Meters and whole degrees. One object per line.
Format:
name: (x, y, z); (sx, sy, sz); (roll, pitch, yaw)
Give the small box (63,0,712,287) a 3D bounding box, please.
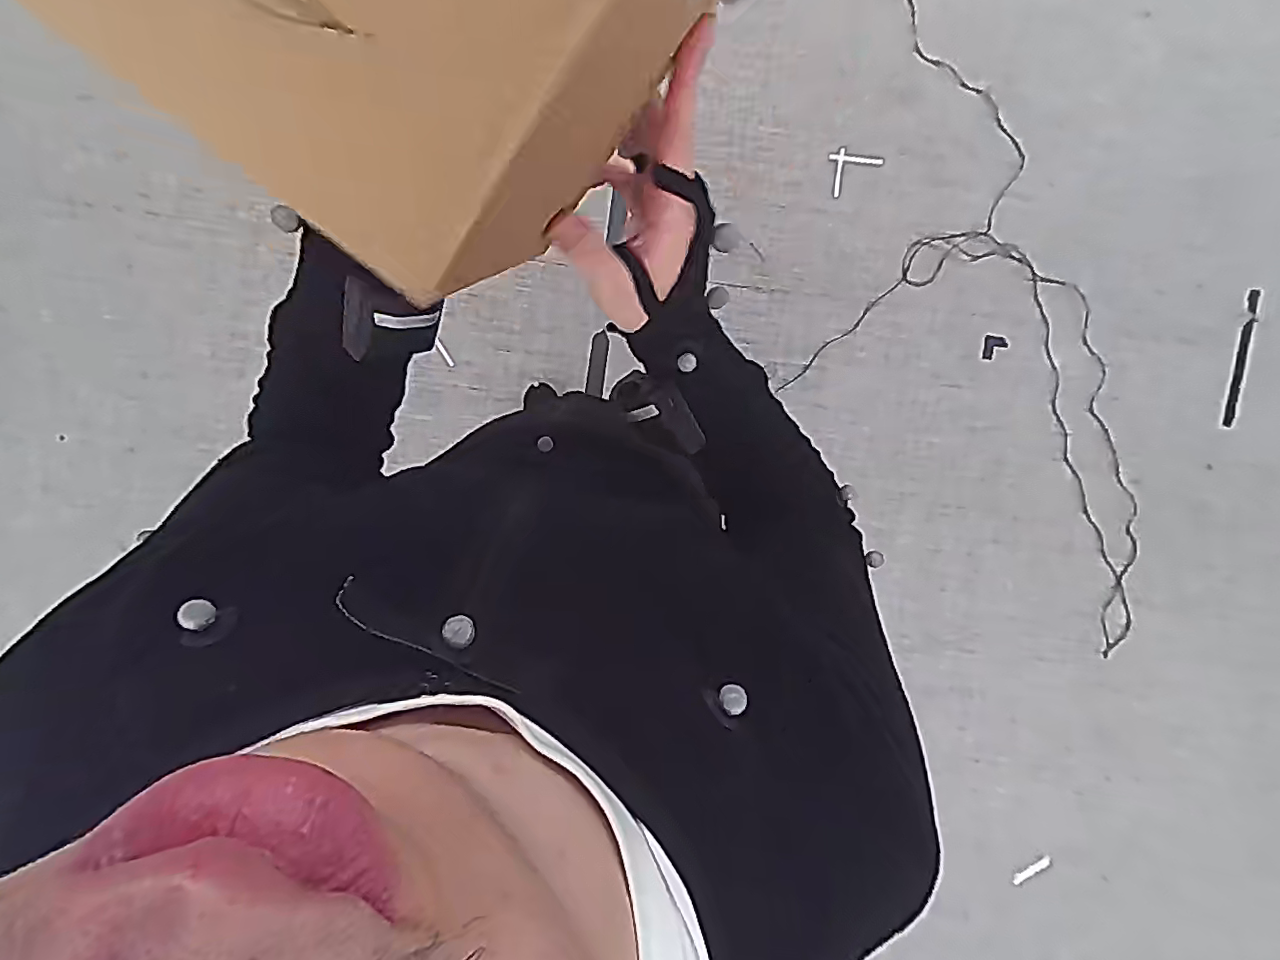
small box: (-0.067, -0.201, 0.189); (0.168, 0.176, 0.179); (36, 114, -15)
